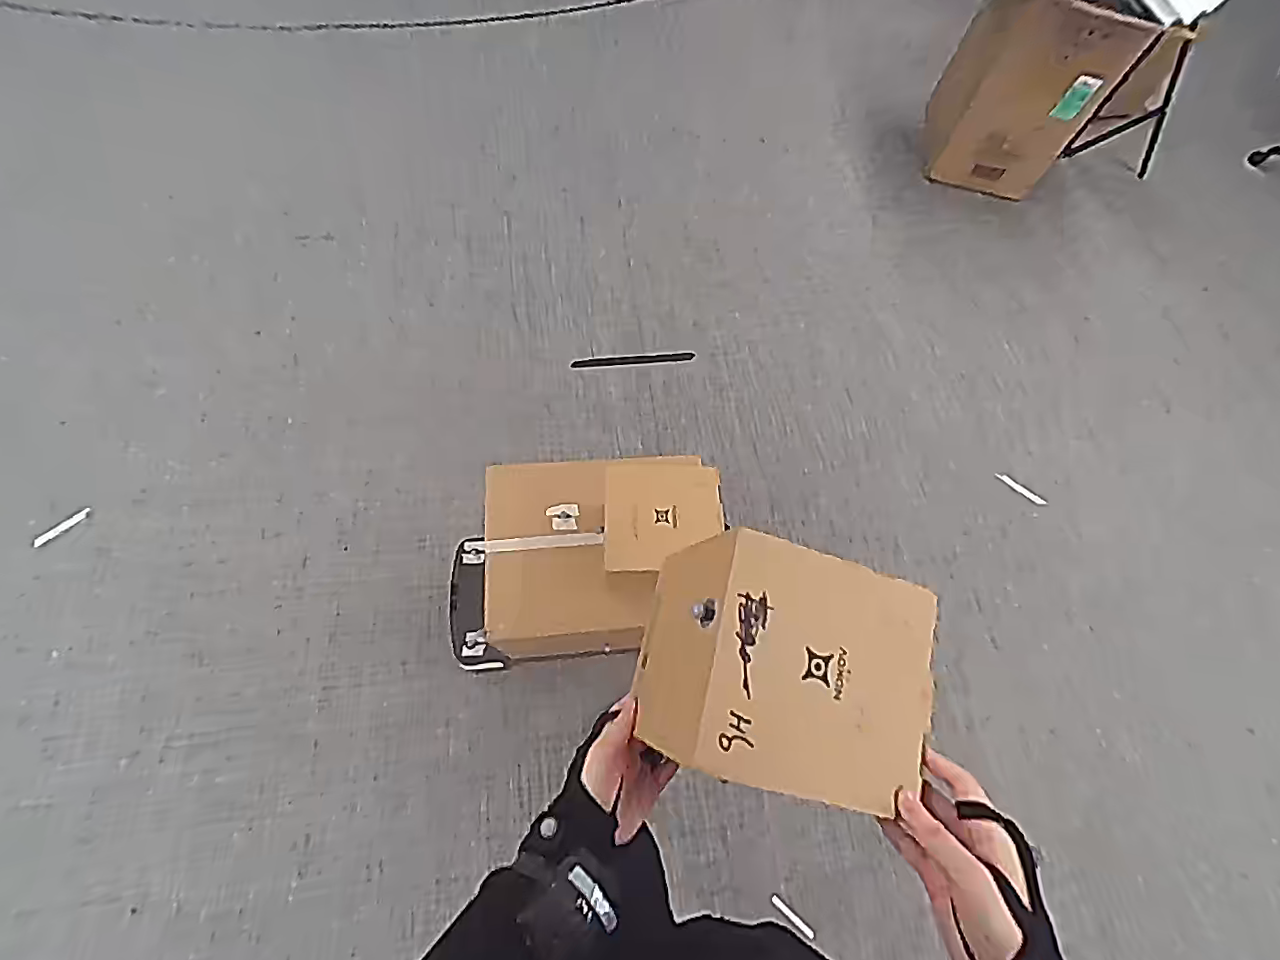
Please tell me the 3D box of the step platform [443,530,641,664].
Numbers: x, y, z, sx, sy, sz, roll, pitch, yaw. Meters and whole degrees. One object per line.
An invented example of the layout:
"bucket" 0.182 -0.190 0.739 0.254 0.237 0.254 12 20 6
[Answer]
"step platform" -0.104 0.278 1.285 0.684 0.204 0.286 1 66 -4

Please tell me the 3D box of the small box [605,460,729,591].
"small box" 0.036 0.079 0.855 0.179 0.176 0.168 1 67 -4

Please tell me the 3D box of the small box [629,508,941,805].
"small box" 0.111 0.141 0.452 0.179 0.176 0.168 20 70 -11

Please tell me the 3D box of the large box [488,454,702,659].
"large box" -0.070 0.165 1.077 0.408 0.320 0.320 -4 66 -6
